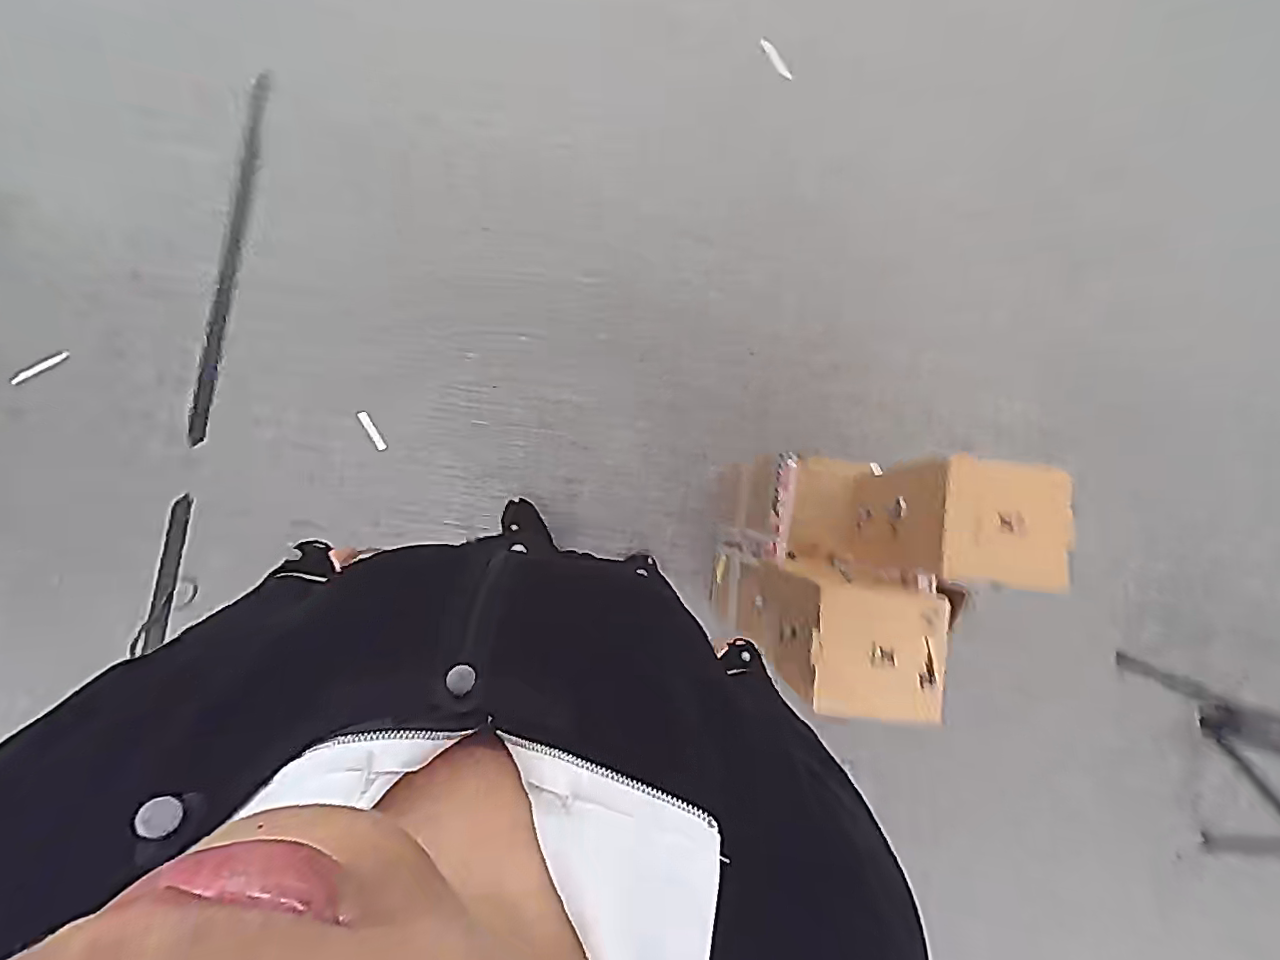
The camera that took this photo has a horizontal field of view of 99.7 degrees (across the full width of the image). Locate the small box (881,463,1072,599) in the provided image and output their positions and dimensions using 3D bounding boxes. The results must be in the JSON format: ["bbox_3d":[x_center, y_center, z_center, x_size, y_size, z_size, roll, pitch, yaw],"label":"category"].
[{"bbox_3d":[0.490,0.074,0.807,0.179,0.176,0.168,7,84,0],"label":"small box"}]

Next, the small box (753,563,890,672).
[{"bbox_3d":[0.310,0.242,0.953,0.179,0.176,0.168,6,86,-1],"label":"small box"}]

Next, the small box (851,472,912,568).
[{"bbox_3d":[0.505,0.084,0.970,0.179,0.176,0.168,8,85,-1],"label":"small box"}]

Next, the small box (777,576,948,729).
[{"bbox_3d":[0.310,0.238,0.788,0.179,0.176,0.168,8,87,-1],"label":"small box"}]
